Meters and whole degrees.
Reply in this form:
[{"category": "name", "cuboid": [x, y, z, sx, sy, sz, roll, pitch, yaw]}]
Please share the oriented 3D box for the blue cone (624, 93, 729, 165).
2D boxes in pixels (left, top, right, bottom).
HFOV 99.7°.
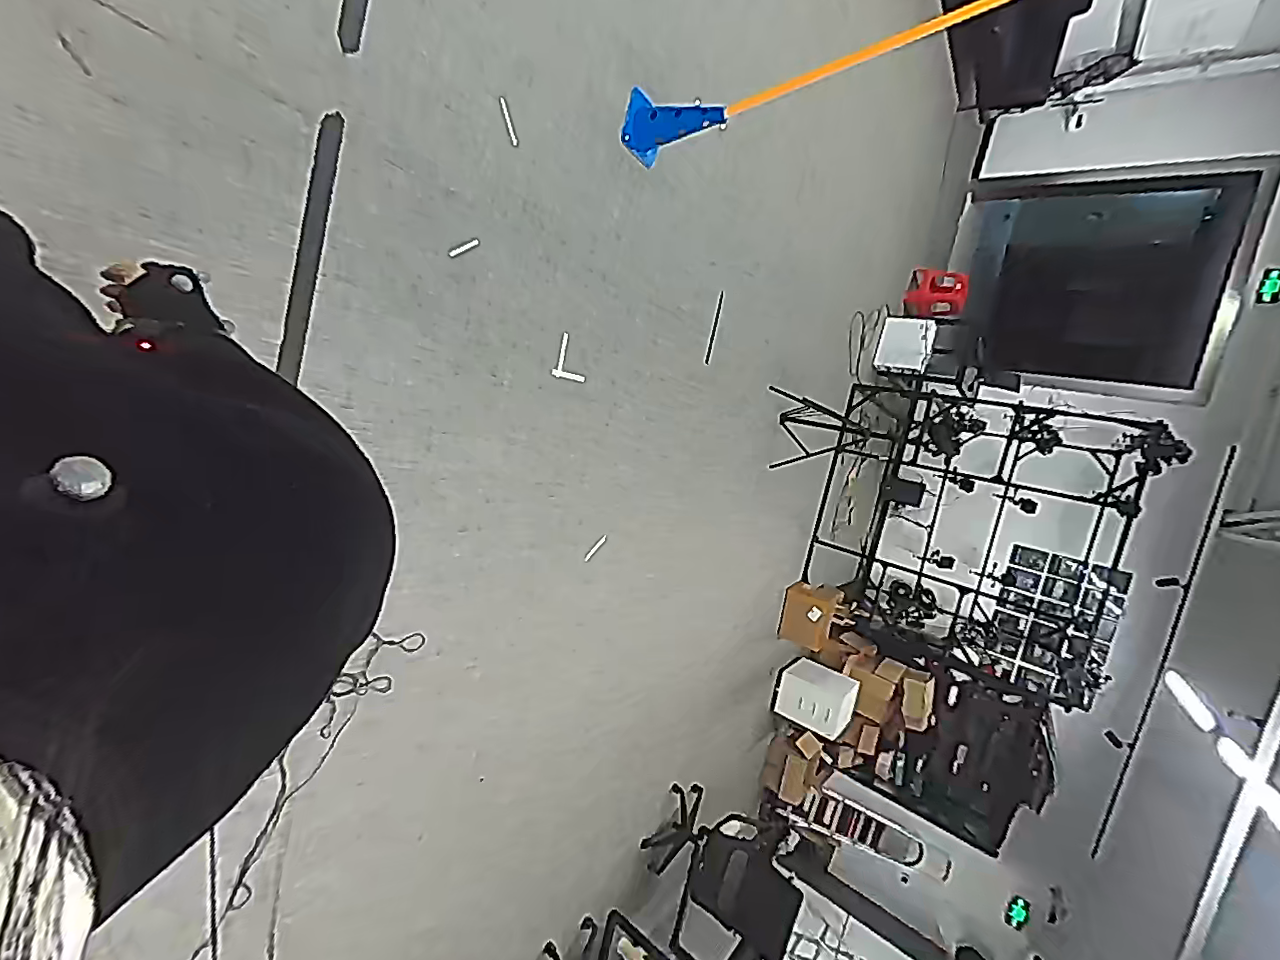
[{"category": "blue cone", "cuboid": [0.145, -1.259, 1.906, 0.193, 0.380, 0.192, 12, 95, -54]}]
